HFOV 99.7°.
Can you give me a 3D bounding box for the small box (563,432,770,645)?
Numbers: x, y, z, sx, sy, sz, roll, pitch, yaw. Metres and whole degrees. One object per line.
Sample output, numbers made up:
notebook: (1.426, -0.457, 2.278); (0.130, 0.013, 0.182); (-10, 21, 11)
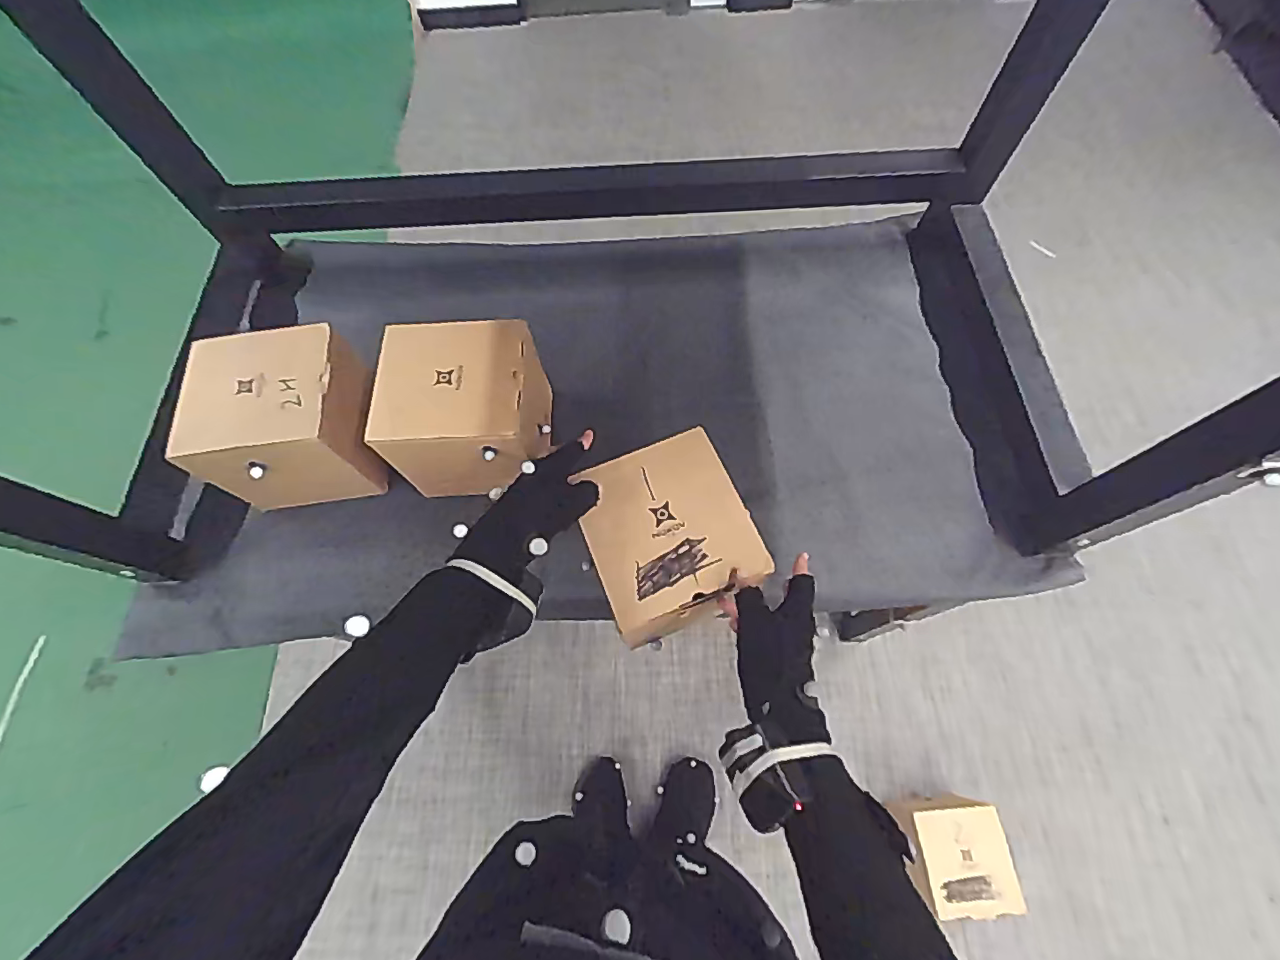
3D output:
small box: (0.027, 0.079, 0.622); (0.168, 0.176, 0.179); (-21, 67, -7)
